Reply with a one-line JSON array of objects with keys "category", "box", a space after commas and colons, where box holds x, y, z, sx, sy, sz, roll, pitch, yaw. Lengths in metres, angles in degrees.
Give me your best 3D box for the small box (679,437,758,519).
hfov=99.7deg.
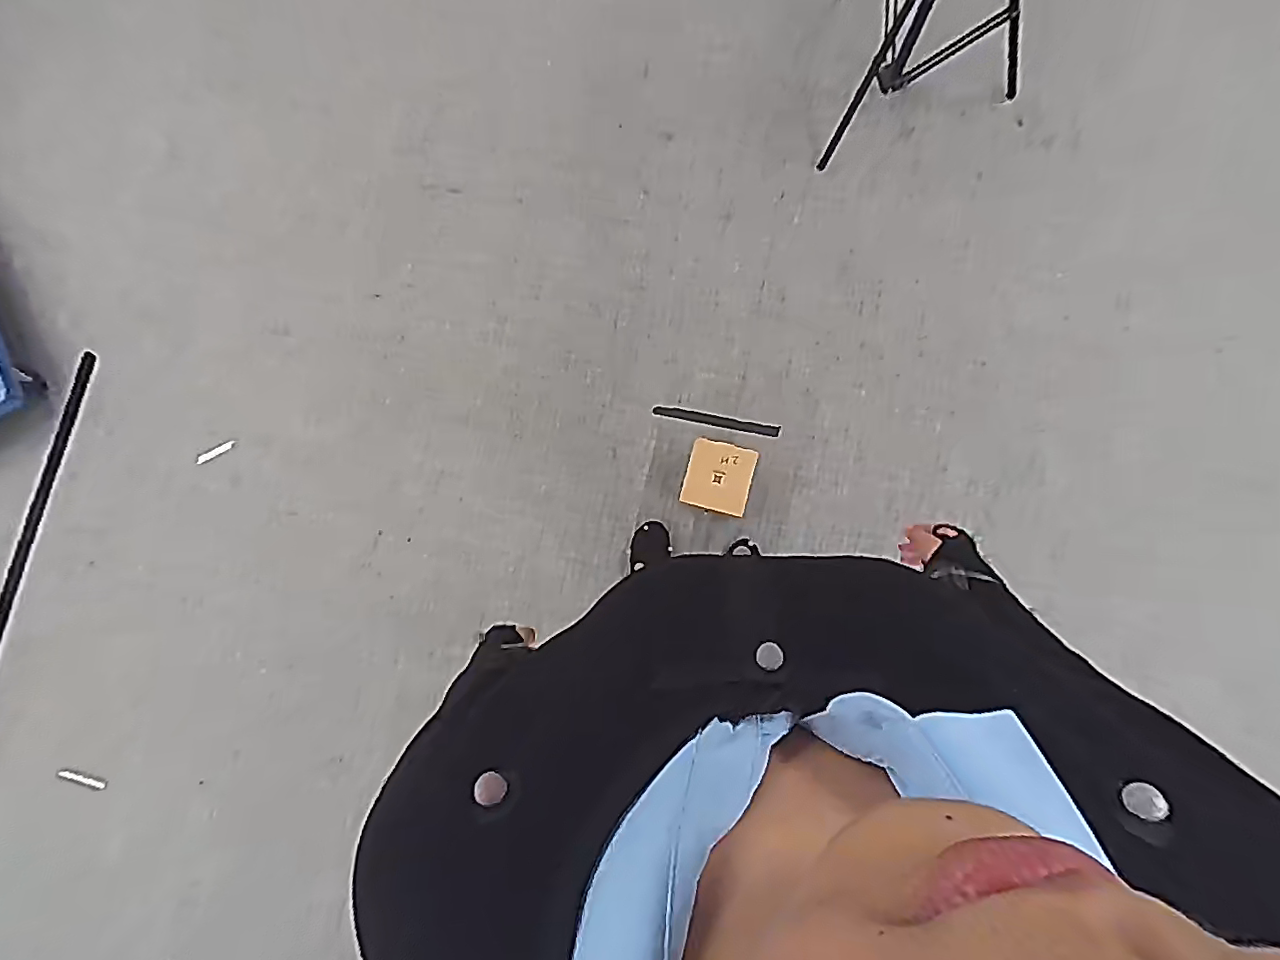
[{"category": "small box", "box": [0.207, 0.001, 1.446, 0.168, 0.176, 0.179, 15, 85, 6]}]
